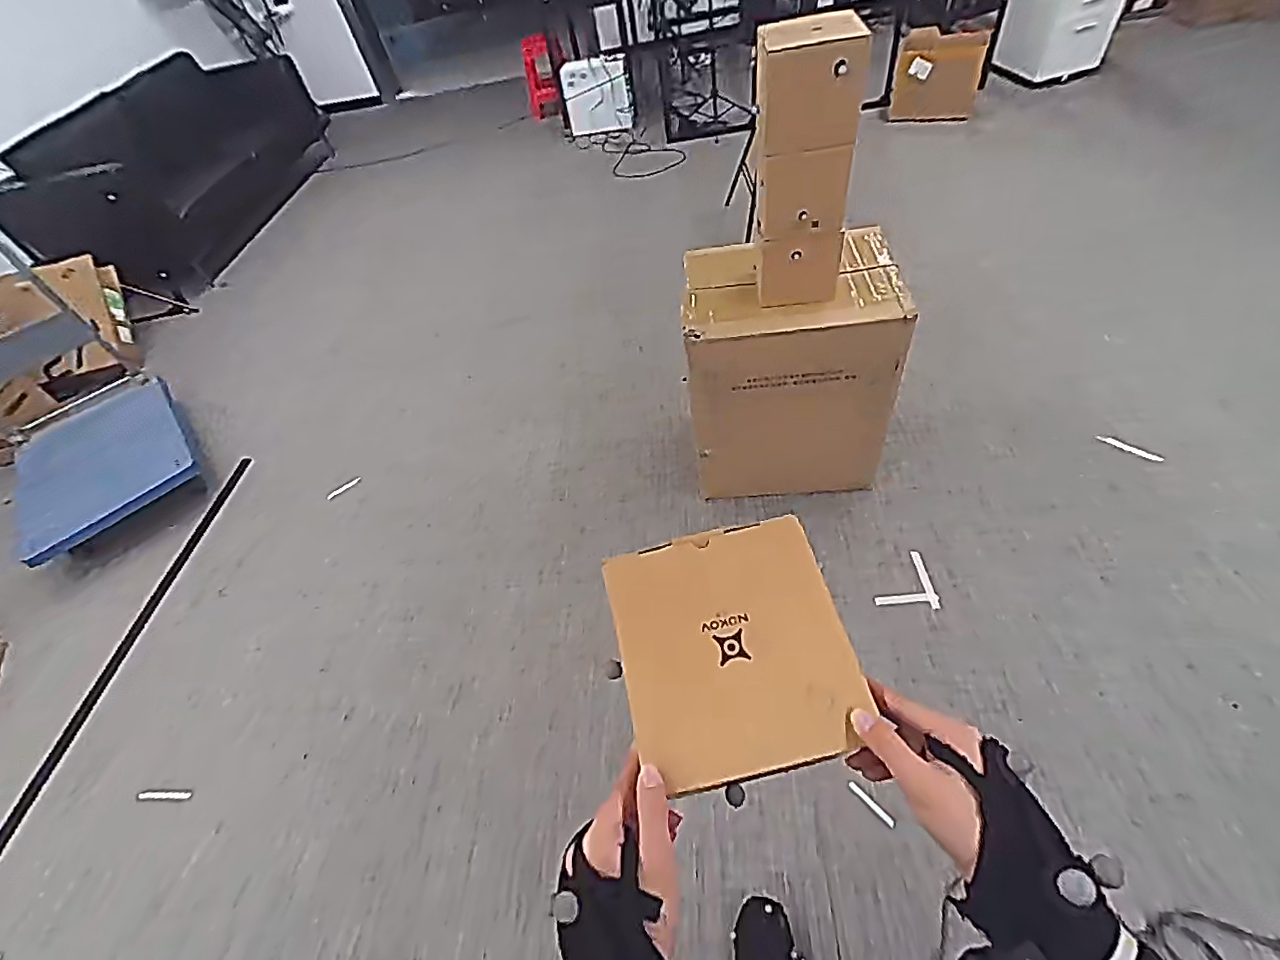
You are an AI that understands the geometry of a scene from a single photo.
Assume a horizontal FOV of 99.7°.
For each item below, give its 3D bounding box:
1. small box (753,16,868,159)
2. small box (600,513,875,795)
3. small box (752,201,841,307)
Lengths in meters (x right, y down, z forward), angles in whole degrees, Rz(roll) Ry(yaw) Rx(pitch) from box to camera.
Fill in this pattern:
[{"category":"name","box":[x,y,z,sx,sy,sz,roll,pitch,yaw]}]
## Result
[{"category":"small box","box":[0.311,-0.738,1.025,0.179,0.176,0.168,-4,50,8]},{"category":"small box","box":[0.072,0.157,0.466,0.168,0.176,0.179,-14,57,-1]},{"category":"small box","box":[0.360,-0.526,1.272,0.179,0.176,0.168,-4,51,8]}]
